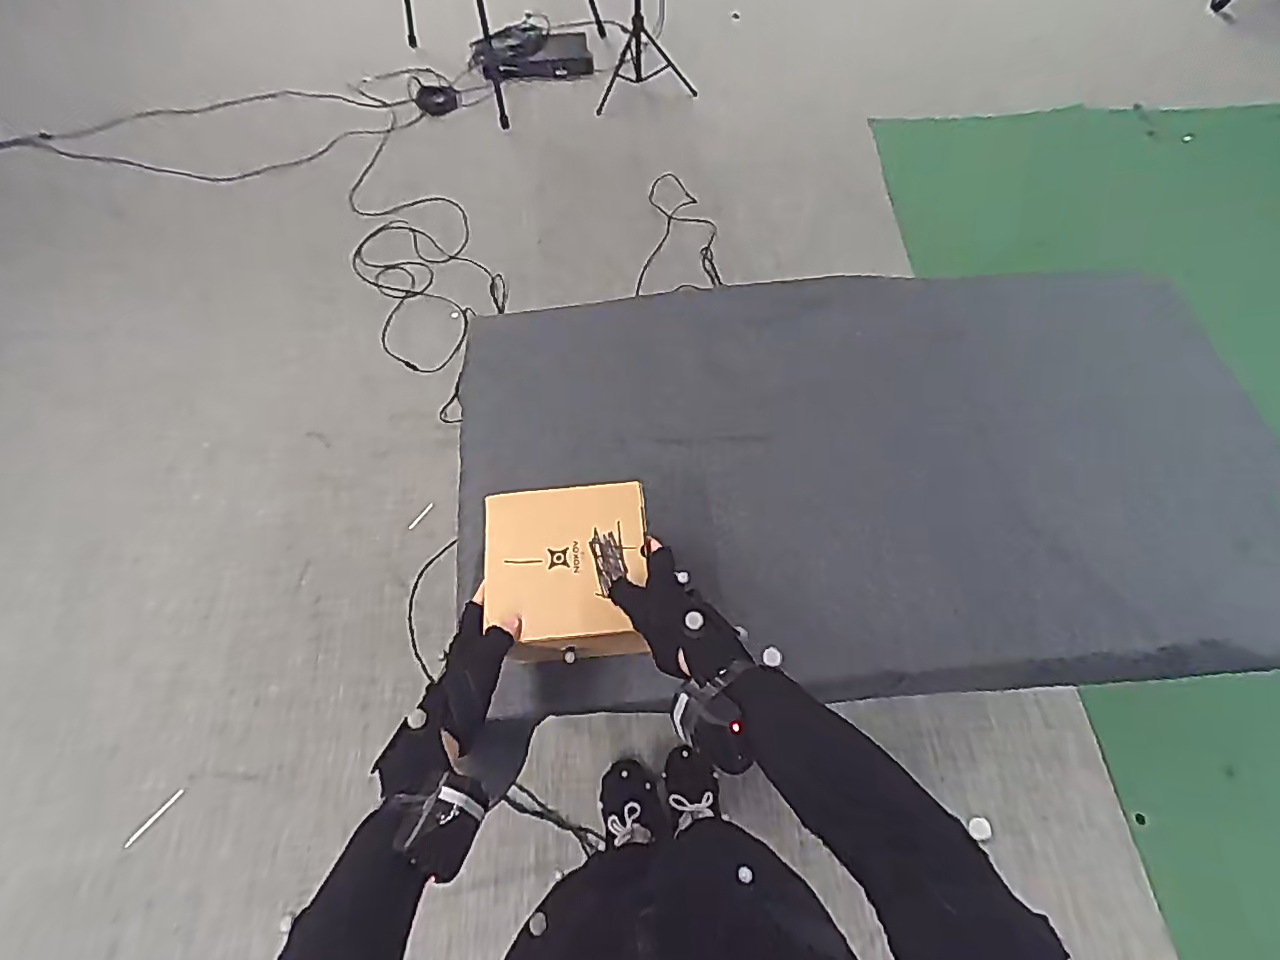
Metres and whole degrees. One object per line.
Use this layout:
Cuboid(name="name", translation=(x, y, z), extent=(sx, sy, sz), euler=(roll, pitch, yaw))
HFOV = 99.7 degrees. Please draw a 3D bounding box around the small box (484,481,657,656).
Cuboid(name="small box", translation=(-0.076, 0.113, 0.647), extent=(0.179, 0.176, 0.168), euler=(-5, 66, -1))
